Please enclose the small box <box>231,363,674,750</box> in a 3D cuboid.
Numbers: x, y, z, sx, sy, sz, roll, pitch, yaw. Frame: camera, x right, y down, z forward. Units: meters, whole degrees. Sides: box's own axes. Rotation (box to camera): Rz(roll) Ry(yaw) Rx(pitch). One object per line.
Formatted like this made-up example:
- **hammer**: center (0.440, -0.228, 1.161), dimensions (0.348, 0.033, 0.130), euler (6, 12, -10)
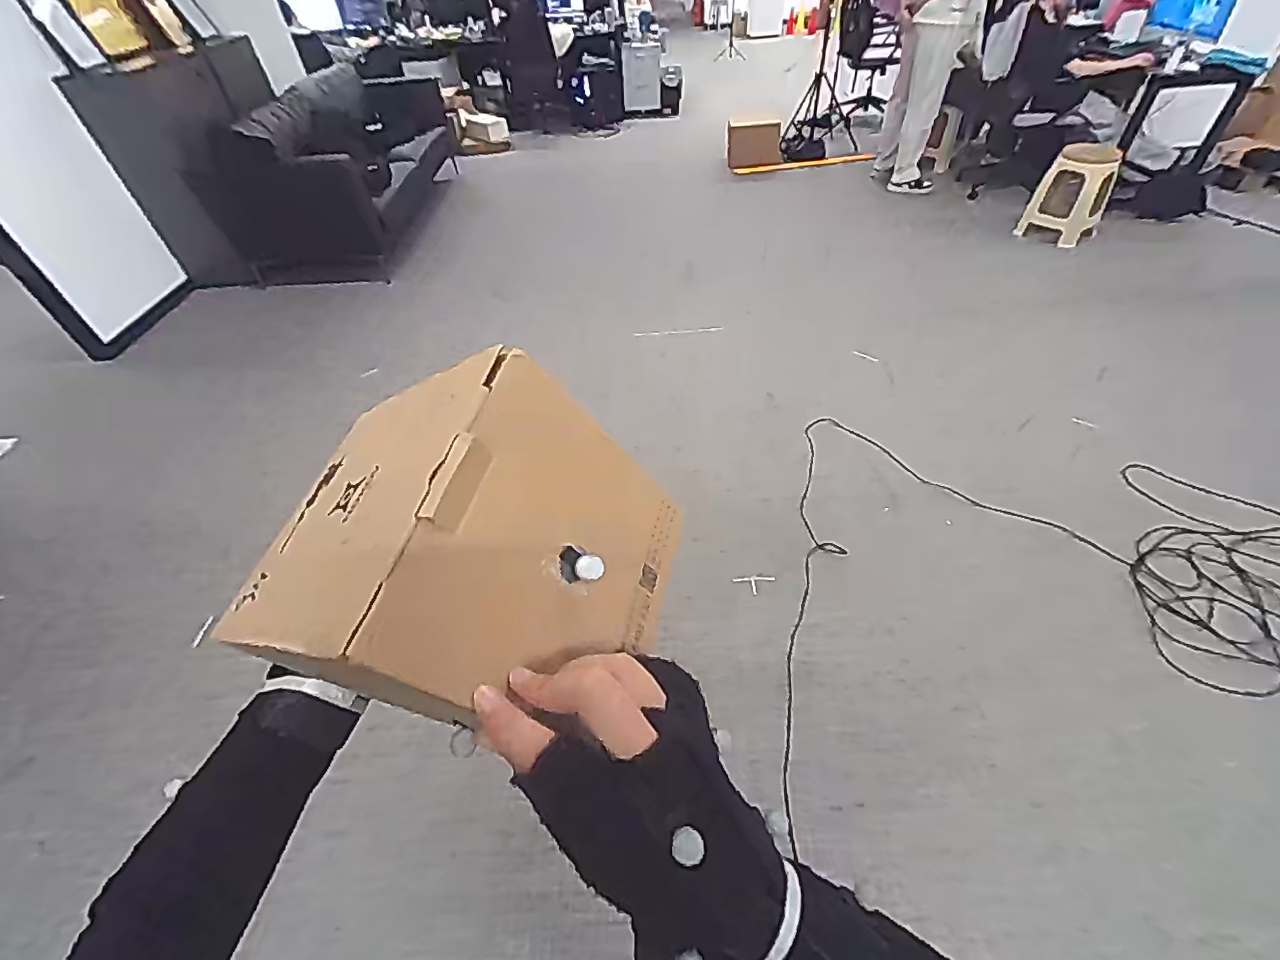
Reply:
- **small box**: center (-0.102, 0.058, 0.348), dimensions (0.179, 0.176, 0.168), euler (-9, 50, 38)
